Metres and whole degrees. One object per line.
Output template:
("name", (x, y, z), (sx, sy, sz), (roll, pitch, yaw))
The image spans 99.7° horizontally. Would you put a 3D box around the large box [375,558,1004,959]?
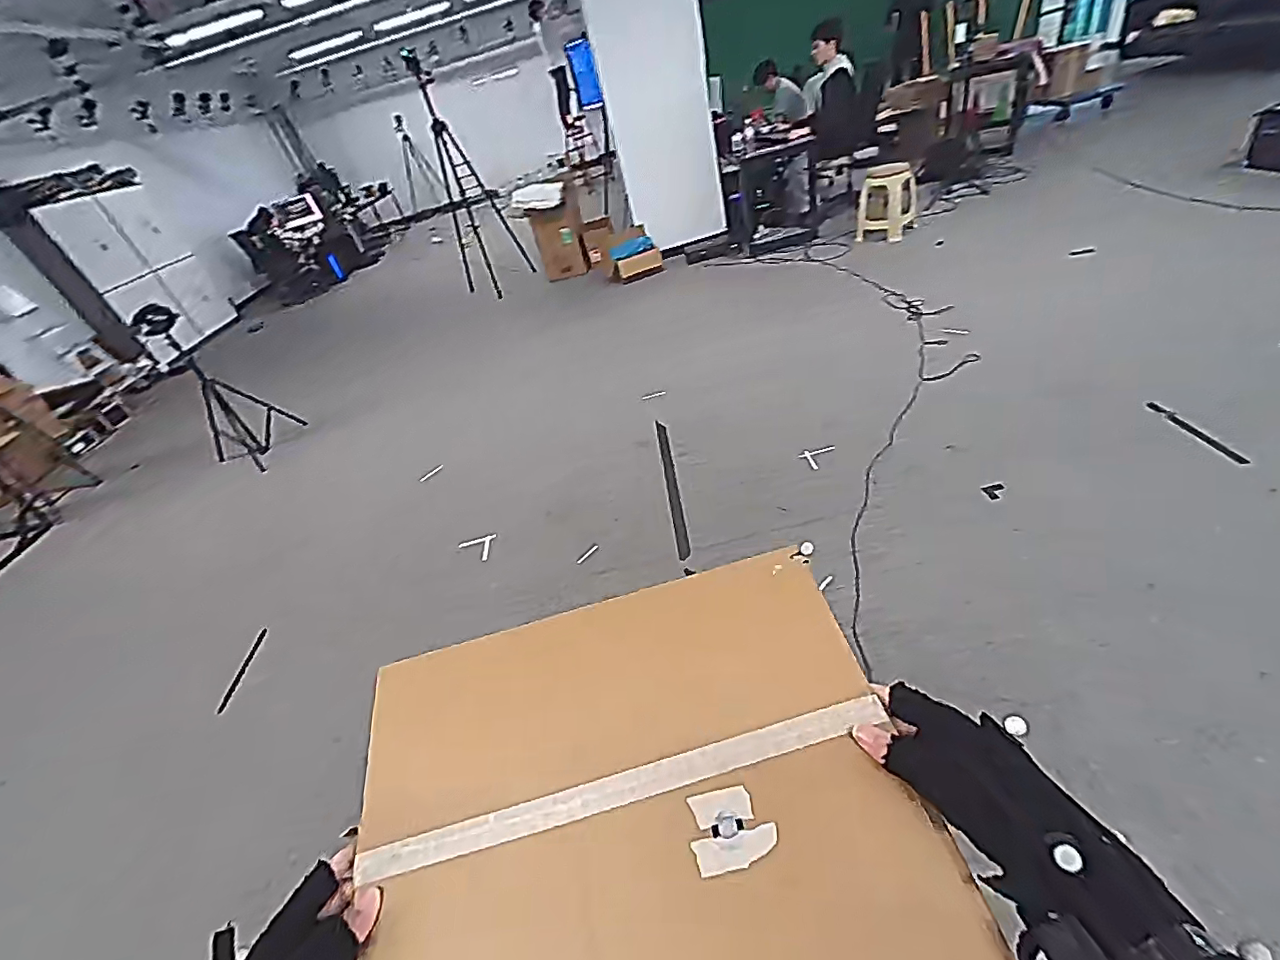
("large box", (0.019, 0.334, 0.523), (0.408, 0.320, 0.320), (-16, 49, -2))
